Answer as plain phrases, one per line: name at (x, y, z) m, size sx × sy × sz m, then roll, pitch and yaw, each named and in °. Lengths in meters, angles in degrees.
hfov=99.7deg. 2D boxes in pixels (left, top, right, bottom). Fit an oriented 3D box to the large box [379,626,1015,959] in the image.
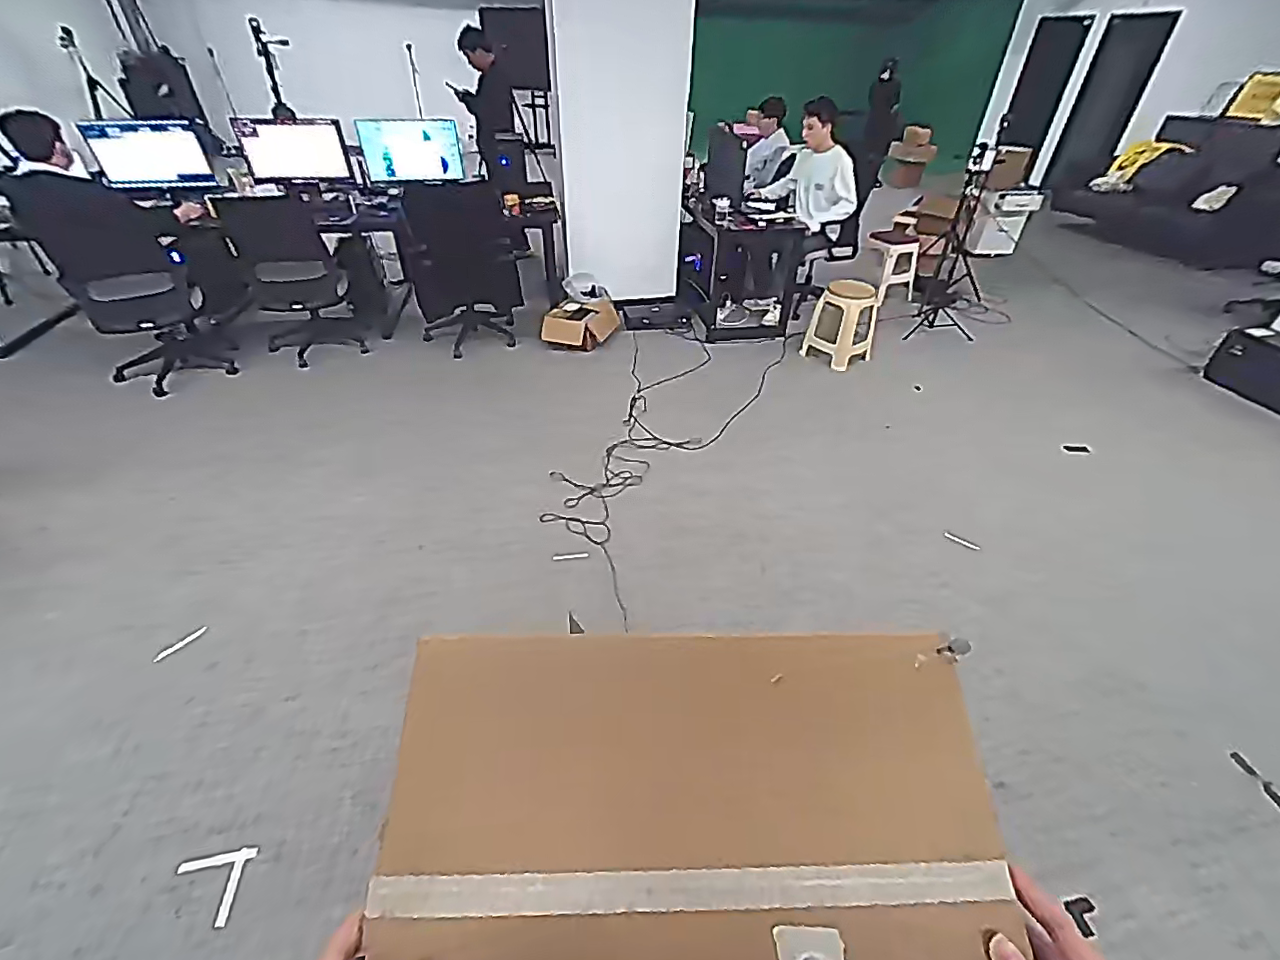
large box at (0.030, 0.323, 0.489) m, size 0.408 × 0.320 × 0.320 m, roll 0°, pitch 64°, yaw -2°
